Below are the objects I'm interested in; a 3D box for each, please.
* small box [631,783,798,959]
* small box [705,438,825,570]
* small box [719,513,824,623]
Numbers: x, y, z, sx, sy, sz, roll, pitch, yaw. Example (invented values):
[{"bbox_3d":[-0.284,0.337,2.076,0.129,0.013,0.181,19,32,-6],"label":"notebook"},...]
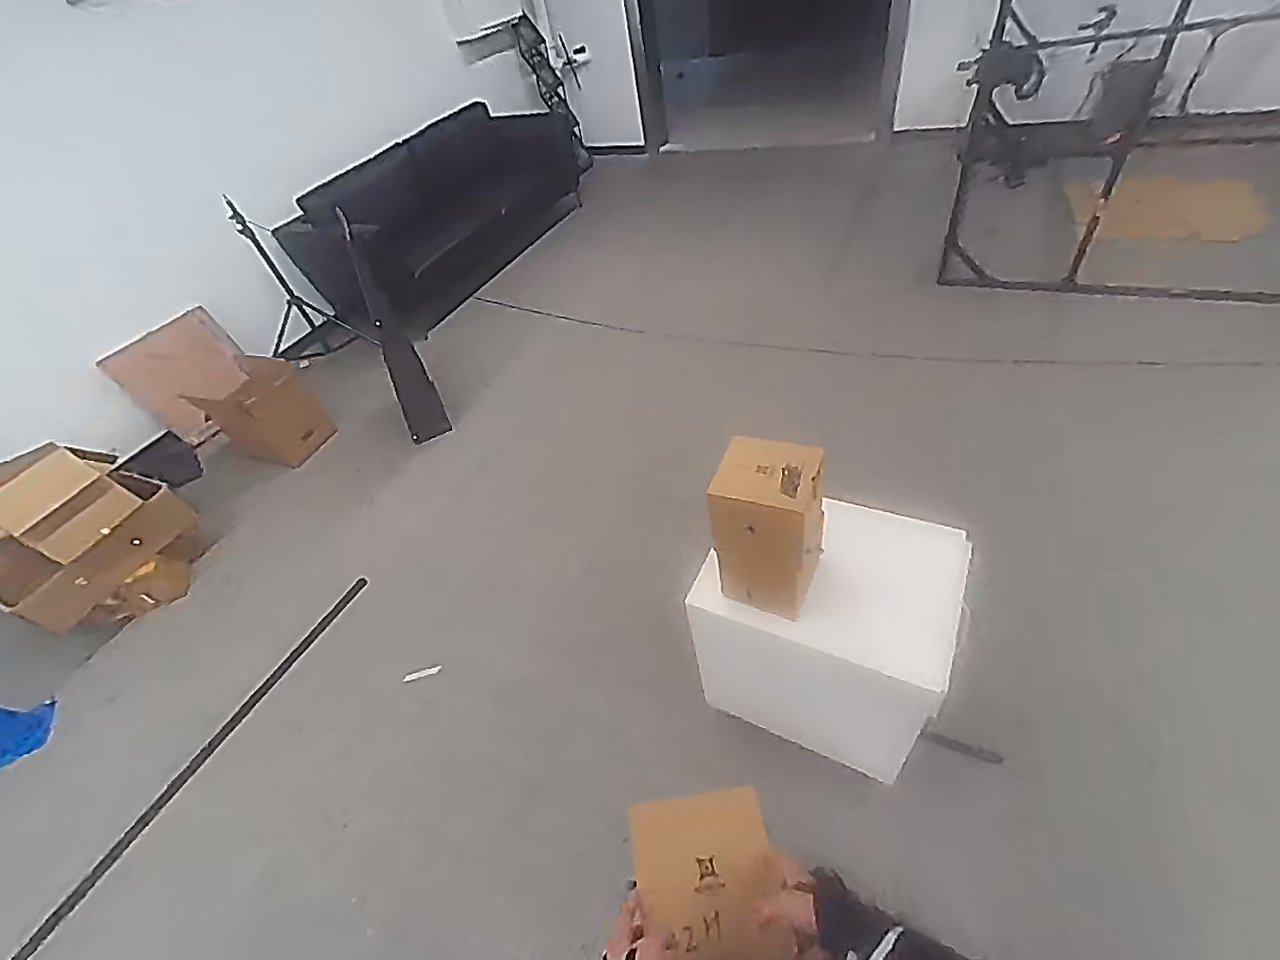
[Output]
[{"bbox_3d":[0.078,0.513,0.684,0.168,0.176,0.179,-7,47,-5],"label":"small box"},{"bbox_3d":[0.240,0.047,1.018,0.179,0.176,0.168,10,48,25],"label":"small box"},{"bbox_3d":[0.274,0.163,1.129,0.168,0.176,0.179,15,51,27],"label":"small box"}]
